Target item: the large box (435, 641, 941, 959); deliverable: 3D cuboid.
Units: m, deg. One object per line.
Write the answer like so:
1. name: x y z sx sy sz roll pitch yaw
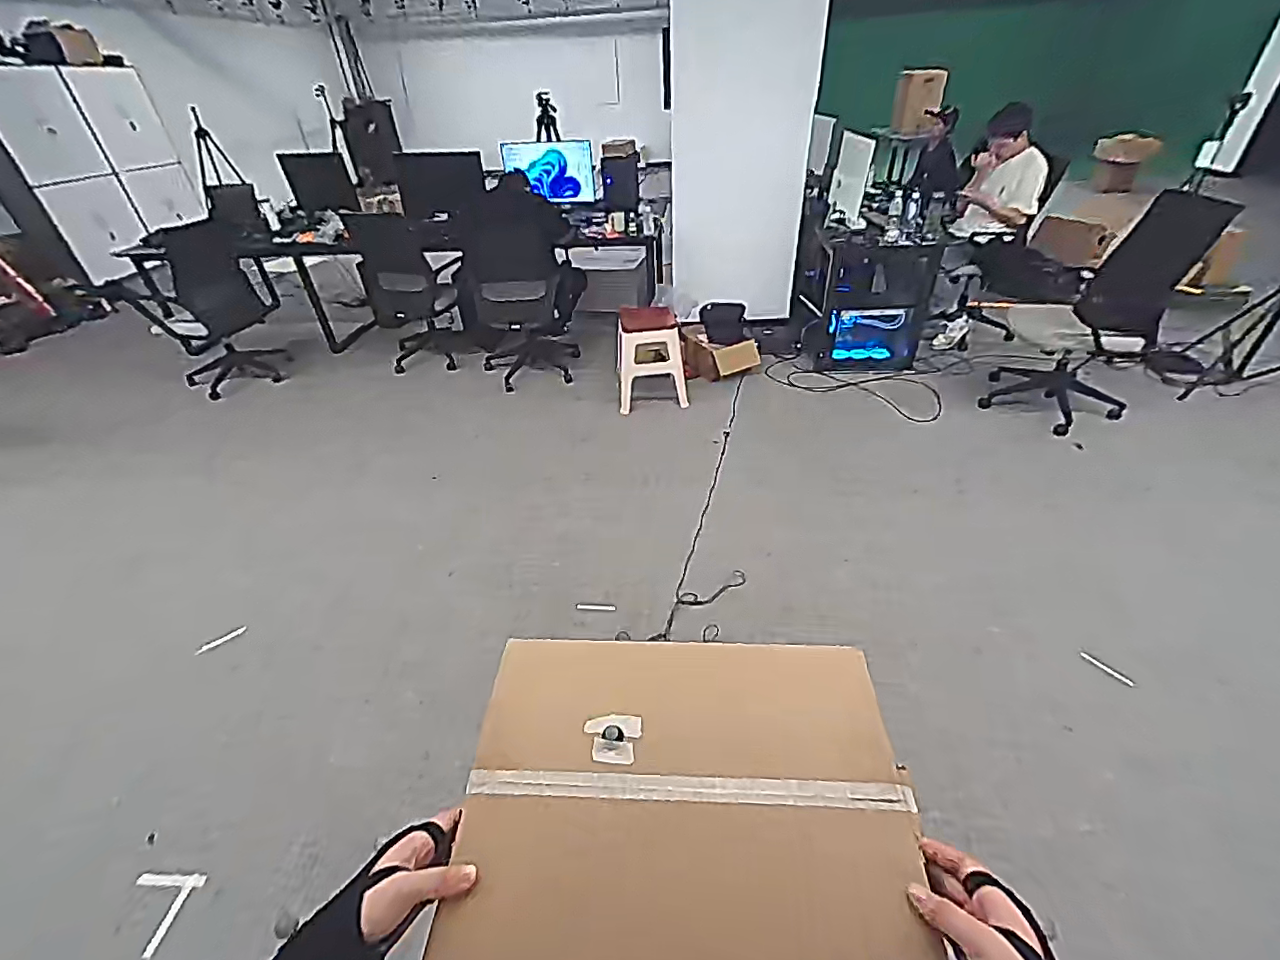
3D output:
1. large box: 0.051 0.403 0.613 0.408 0.320 0.320 -2 41 6
